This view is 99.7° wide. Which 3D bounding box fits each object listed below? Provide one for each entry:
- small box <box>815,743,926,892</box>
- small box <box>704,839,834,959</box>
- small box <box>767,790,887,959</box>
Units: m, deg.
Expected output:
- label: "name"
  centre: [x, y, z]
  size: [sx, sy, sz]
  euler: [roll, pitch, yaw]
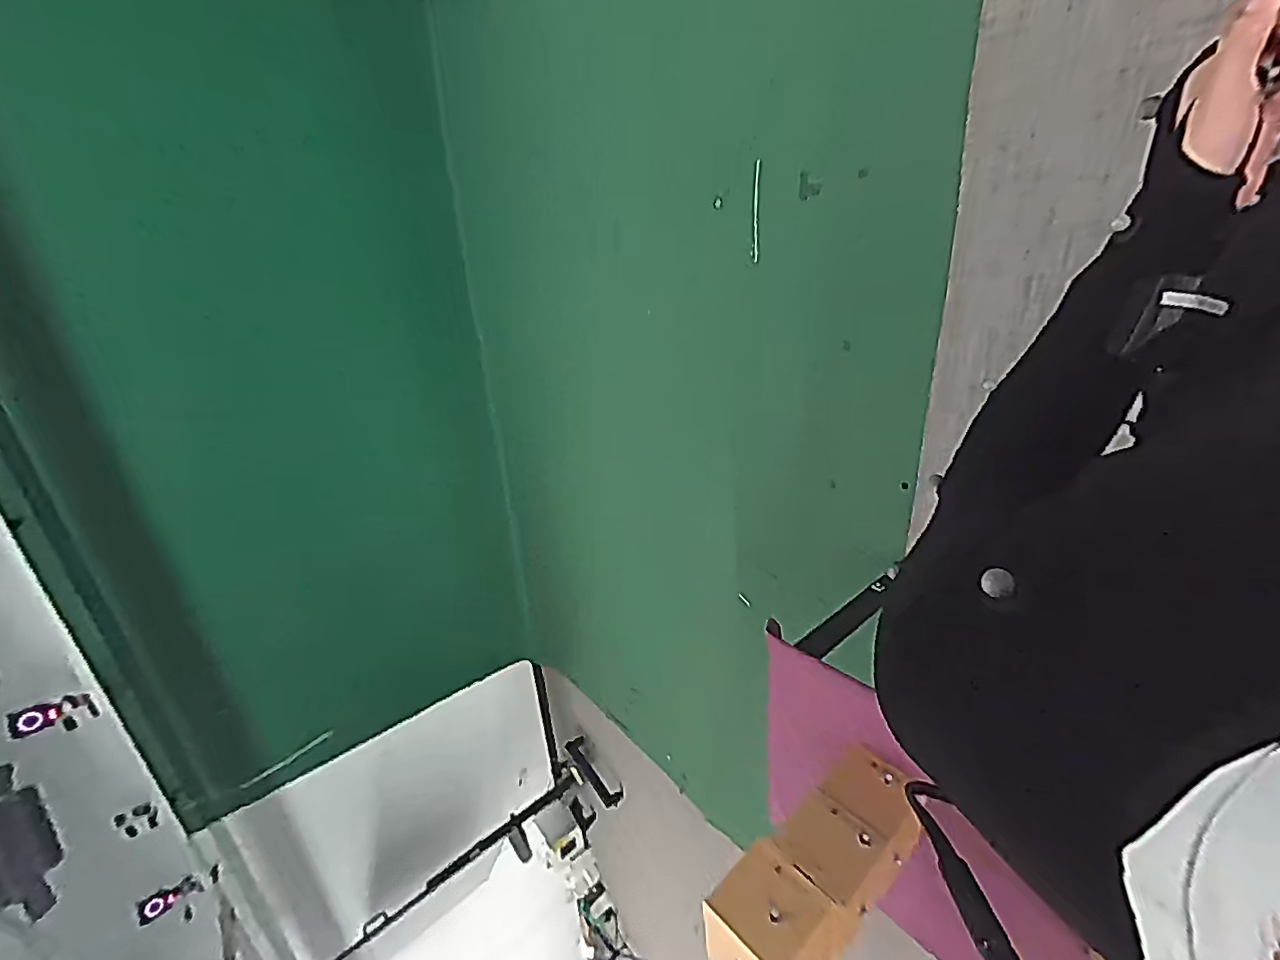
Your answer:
- label: "small box"
  centre: [0.491, 0.718, 1.163]
  size: [0.168, 0.176, 0.179]
  euler: [22, 124, 45]
- label: "small box"
  centre: [0.236, 0.812, 0.984]
  size: [0.168, 0.176, 0.179]
  euler: [19, 124, 46]
- label: "small box"
  centre: [0.366, 0.764, 1.068]
  size: [0.168, 0.176, 0.179]
  euler: [21, 125, 46]
